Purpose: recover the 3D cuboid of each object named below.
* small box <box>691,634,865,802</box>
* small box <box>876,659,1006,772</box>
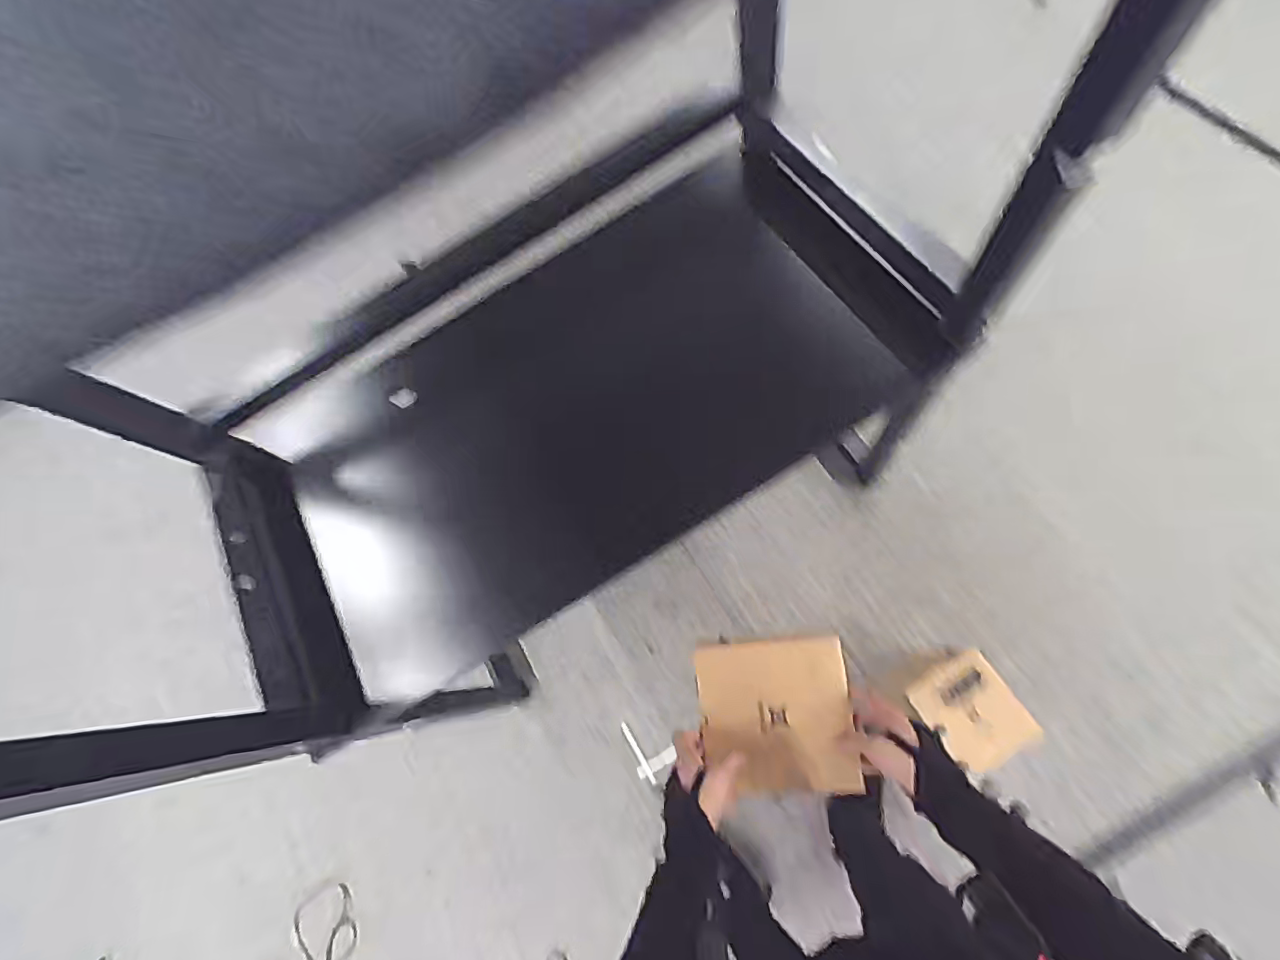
[{"bbox_3d":[0.165,0.292,0.693,0.179,0.176,0.168,-8,74,8],"label":"small box"},{"bbox_3d":[0.666,0.521,1.223,0.179,0.176,0.168,-34,68,0],"label":"small box"}]
